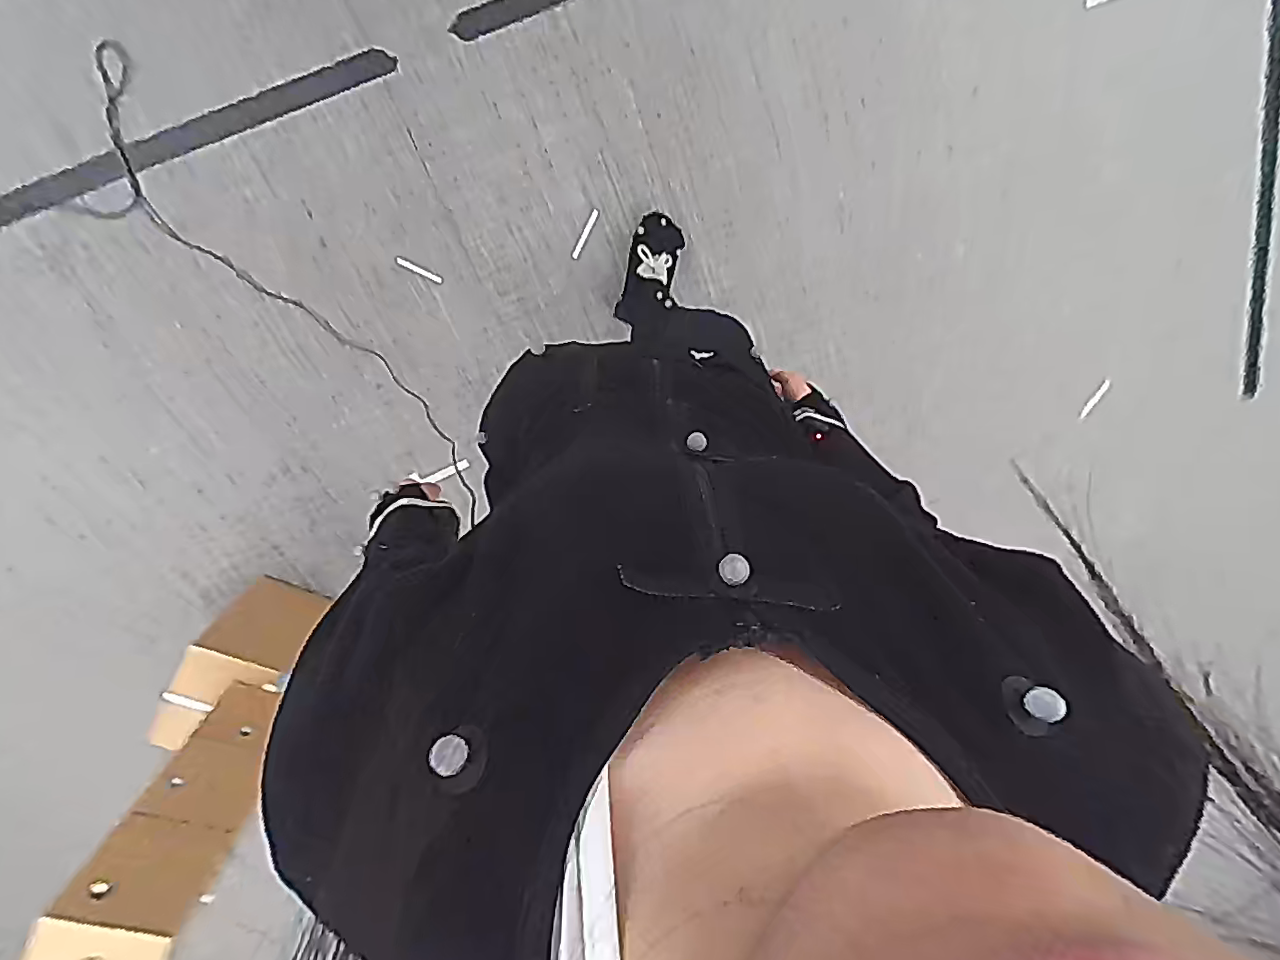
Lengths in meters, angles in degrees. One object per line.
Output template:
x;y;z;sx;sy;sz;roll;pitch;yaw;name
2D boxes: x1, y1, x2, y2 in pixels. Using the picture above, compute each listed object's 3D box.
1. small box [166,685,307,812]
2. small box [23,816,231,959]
-0.879;0.587;1.196;0.179;0.176;0.168;25;104;-15;small box
-0.833;0.696;0.889;0.179;0.176;0.168;26;105;-16;small box
